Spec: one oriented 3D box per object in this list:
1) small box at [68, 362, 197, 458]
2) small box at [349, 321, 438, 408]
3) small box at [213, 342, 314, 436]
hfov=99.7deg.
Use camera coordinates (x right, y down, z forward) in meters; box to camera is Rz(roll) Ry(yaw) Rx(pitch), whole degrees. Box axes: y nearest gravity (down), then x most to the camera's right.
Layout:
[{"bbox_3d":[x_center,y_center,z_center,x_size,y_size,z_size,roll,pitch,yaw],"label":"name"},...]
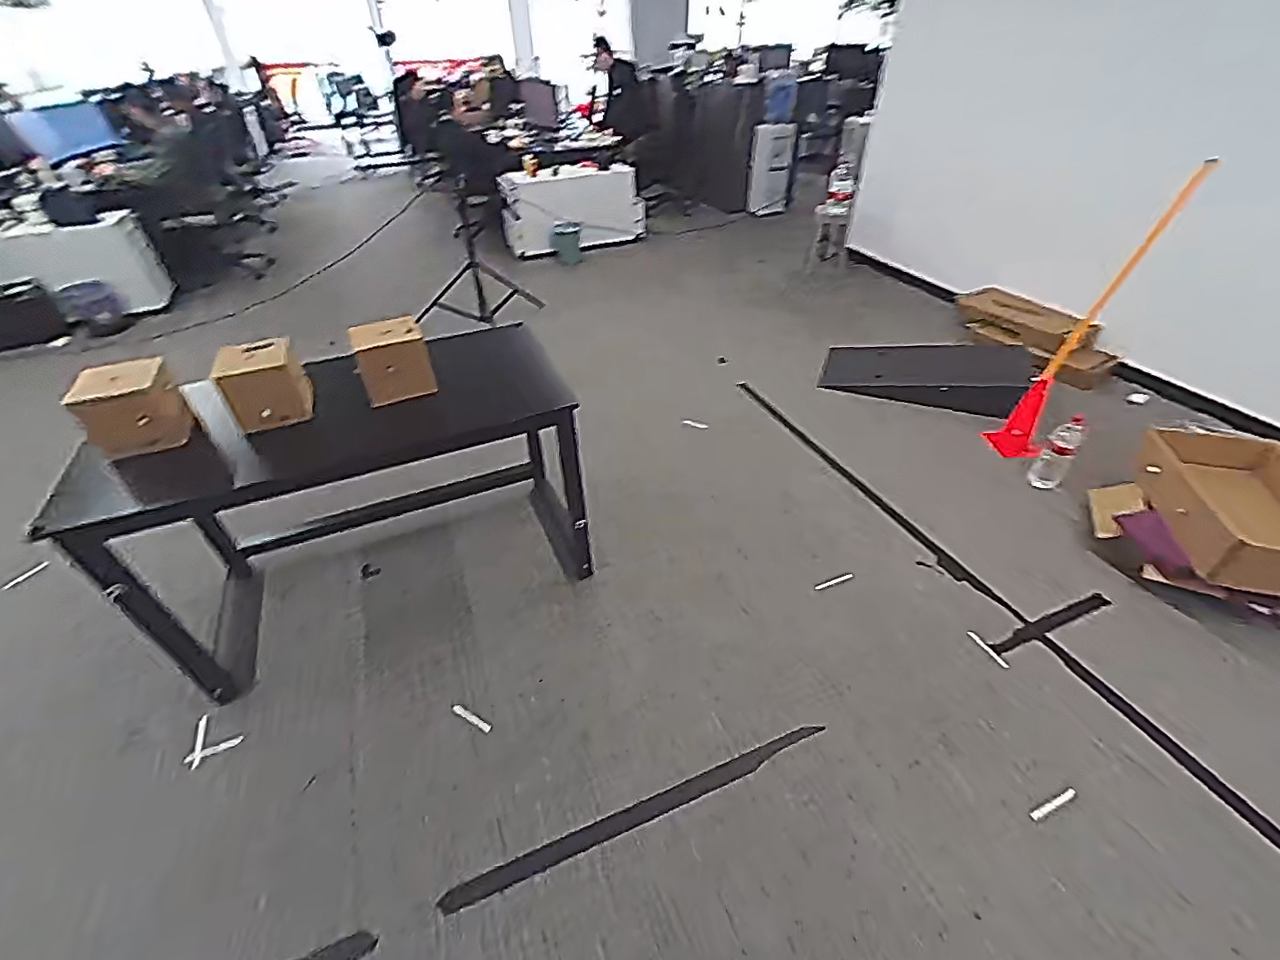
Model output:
[{"bbox_3d":[-1.251,-0.170,1.351,0.168,0.176,0.179,-17,41,-20],"label":"small box"},{"bbox_3d":[-0.692,-0.324,1.525,0.179,0.176,0.168,-20,43,-20],"label":"small box"},{"bbox_3d":[-0.985,-0.242,1.432,0.168,0.176,0.179,-17,43,-18],"label":"small box"}]
